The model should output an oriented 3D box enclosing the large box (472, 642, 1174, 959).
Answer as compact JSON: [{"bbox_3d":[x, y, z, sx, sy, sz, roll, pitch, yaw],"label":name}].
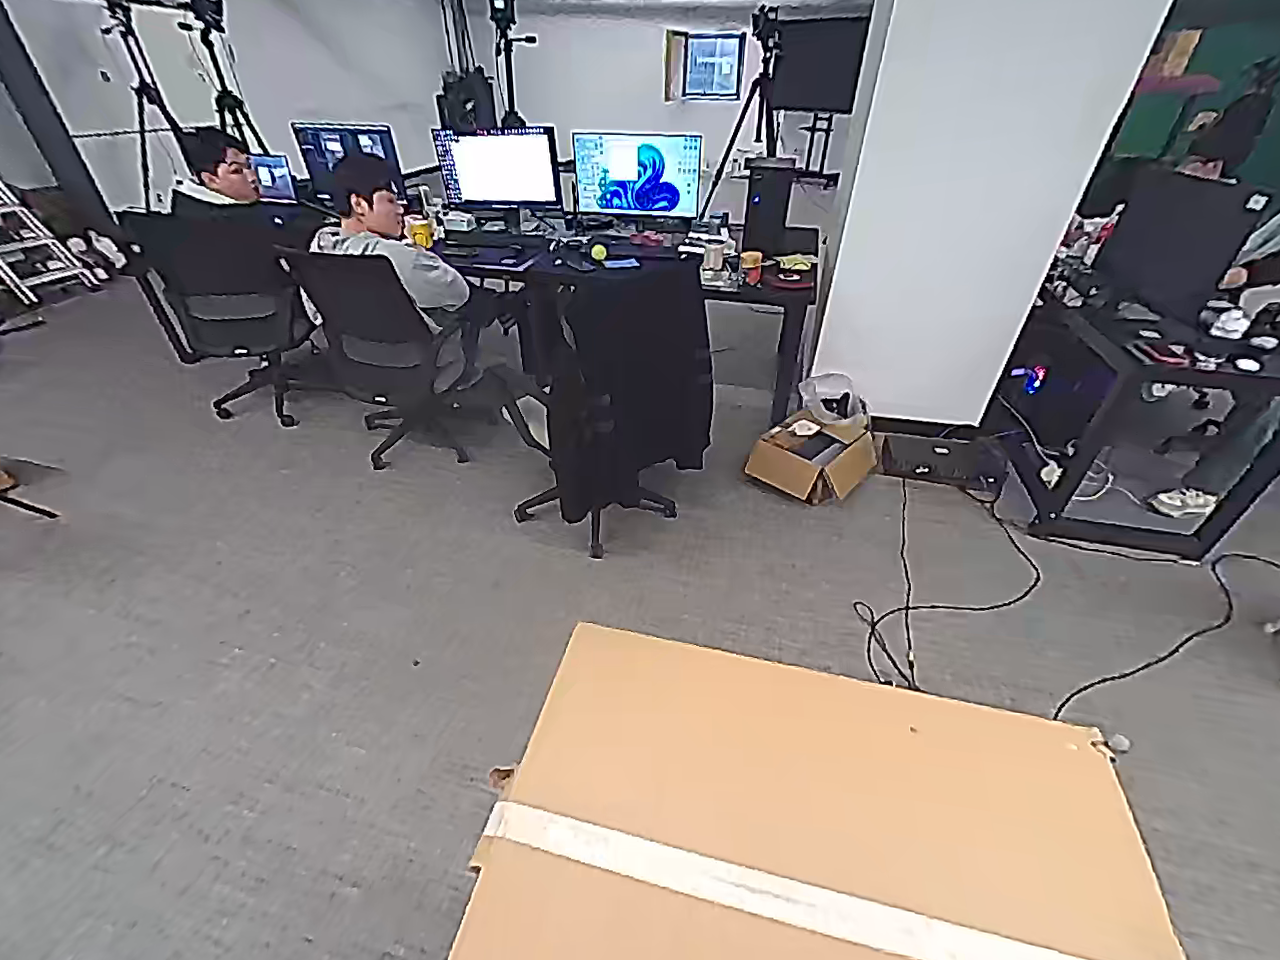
[{"bbox_3d":[0.108,0.376,0.428,0.408,0.320,0.320,9,44,10],"label":"large box"}]
